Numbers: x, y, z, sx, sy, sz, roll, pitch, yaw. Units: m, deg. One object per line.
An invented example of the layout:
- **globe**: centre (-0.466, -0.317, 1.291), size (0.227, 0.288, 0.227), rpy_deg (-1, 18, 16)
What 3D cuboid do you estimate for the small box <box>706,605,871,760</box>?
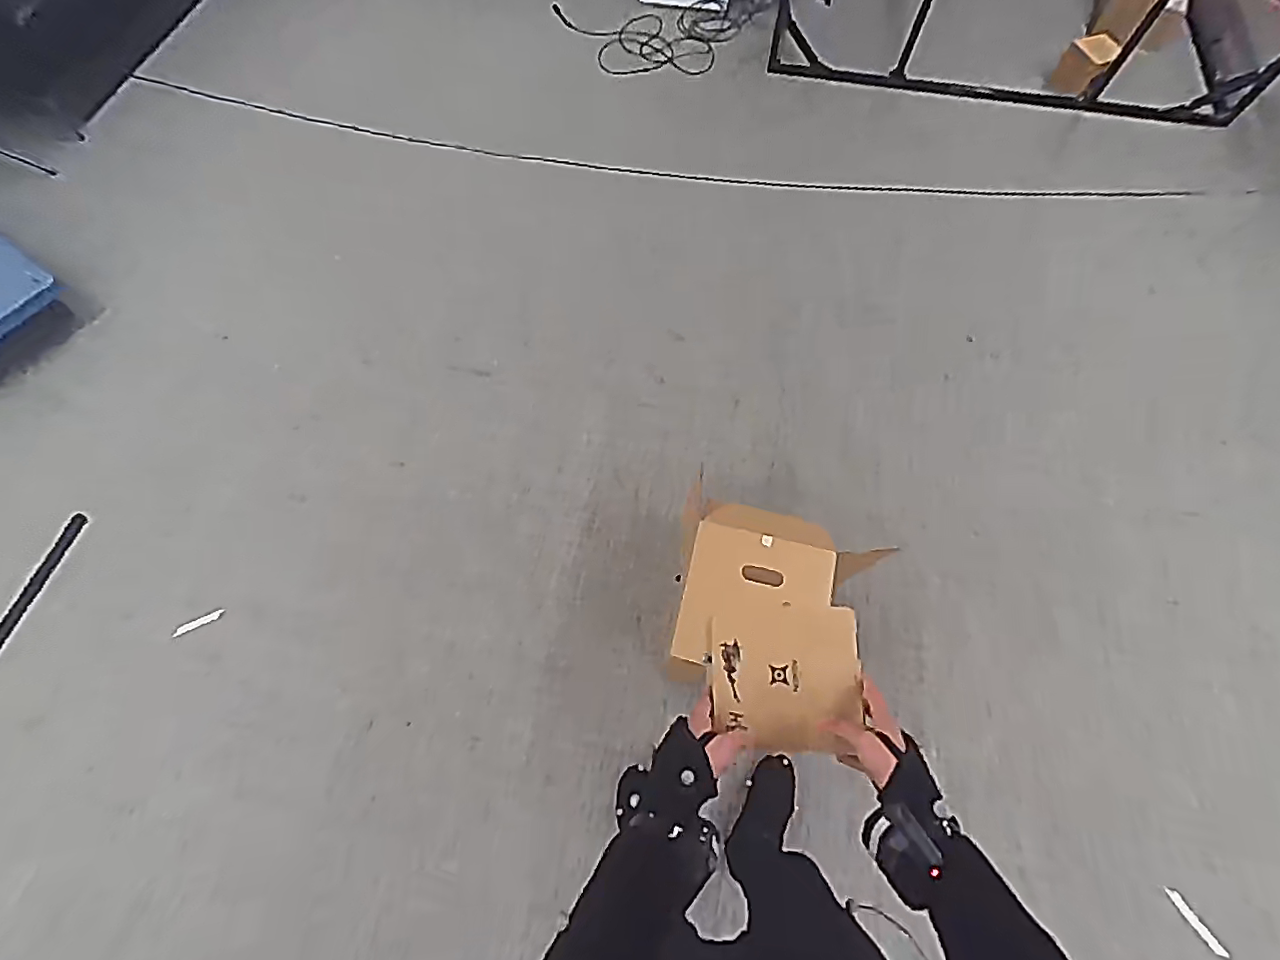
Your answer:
- **small box**: centre (0.180, 0.258, 0.707), size (0.179, 0.176, 0.168), rpy_deg (1, 71, 4)
